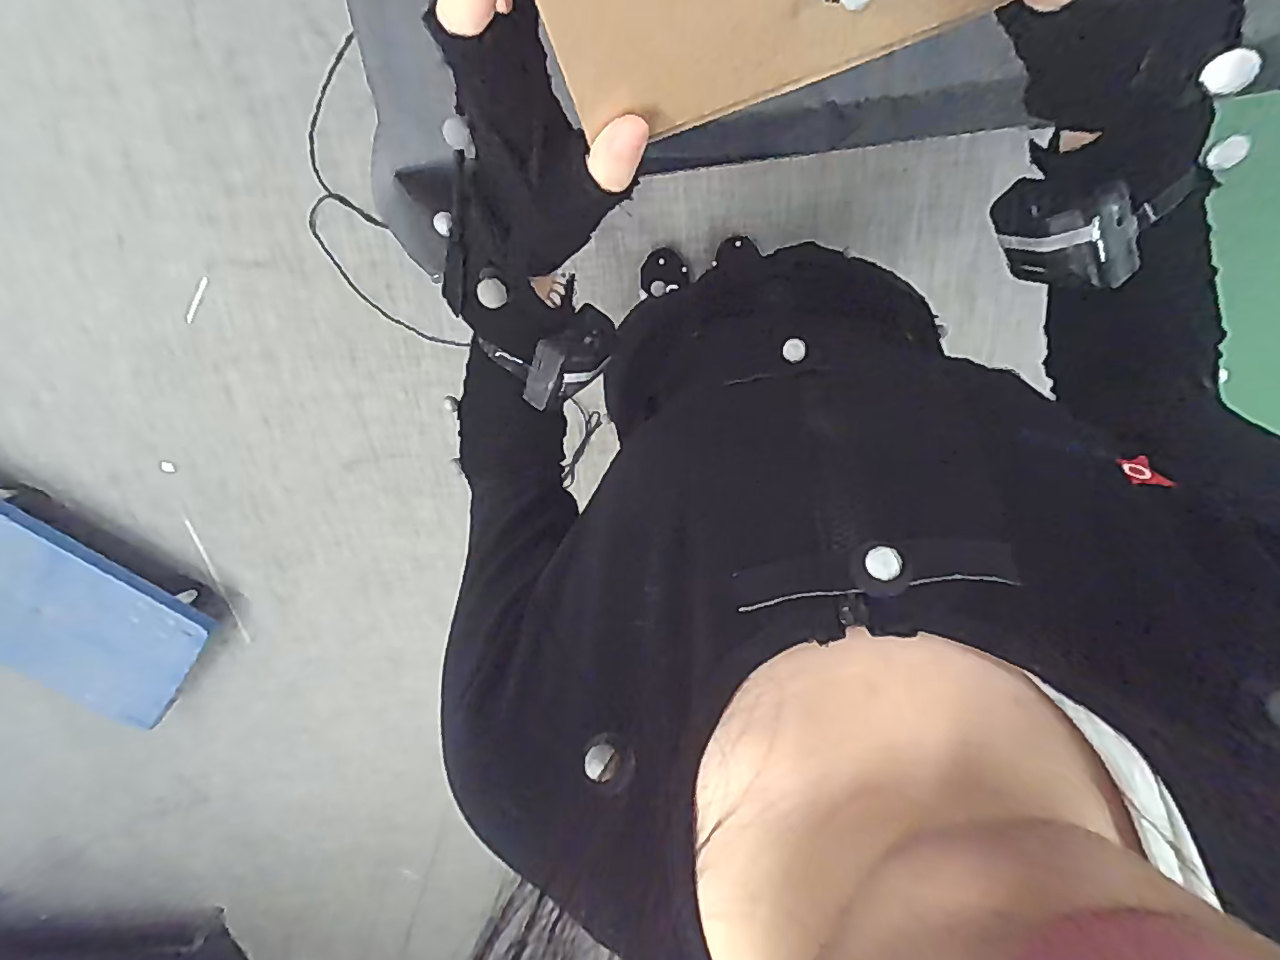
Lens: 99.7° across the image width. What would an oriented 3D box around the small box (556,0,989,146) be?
[{"bbox_3d":[0.032,-0.246,0.145,0.179,0.176,0.168,-16,81,8],"label":"small box"}]
